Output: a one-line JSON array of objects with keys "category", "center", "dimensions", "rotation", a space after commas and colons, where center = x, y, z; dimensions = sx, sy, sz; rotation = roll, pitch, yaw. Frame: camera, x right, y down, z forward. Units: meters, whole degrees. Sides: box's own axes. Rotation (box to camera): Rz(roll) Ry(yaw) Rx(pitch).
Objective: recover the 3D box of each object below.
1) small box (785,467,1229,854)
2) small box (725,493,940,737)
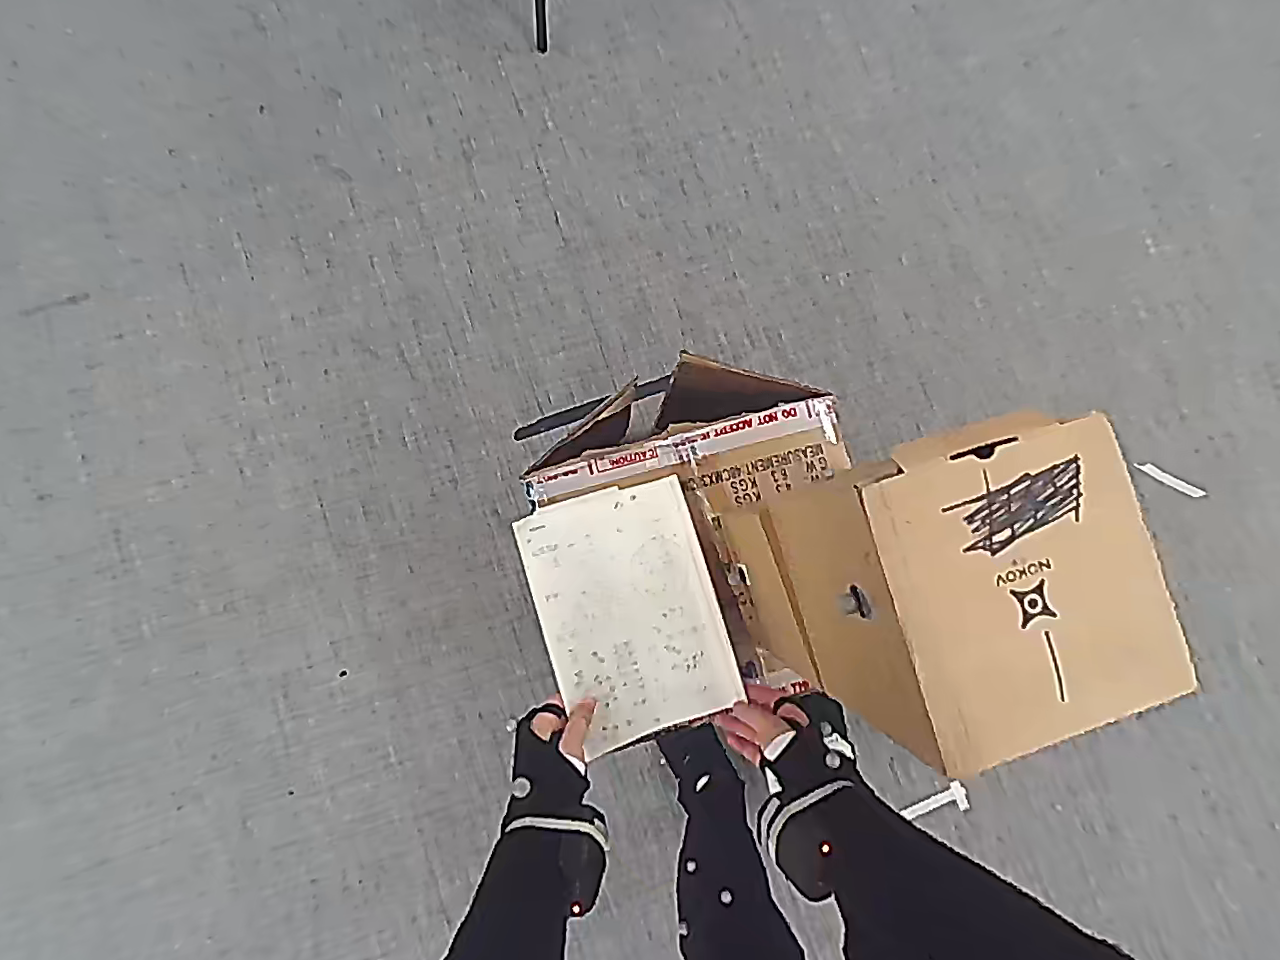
[{"category": "small box", "center": [0.223, 0.103, 0.379], "dimensions": [0.168, 0.176, 0.179], "rotation": [-16, 87, -6]}, {"category": "small box", "center": [0.207, 0.118, 0.543], "dimensions": [0.179, 0.176, 0.168], "rotation": [-19, 87, -5]}]
